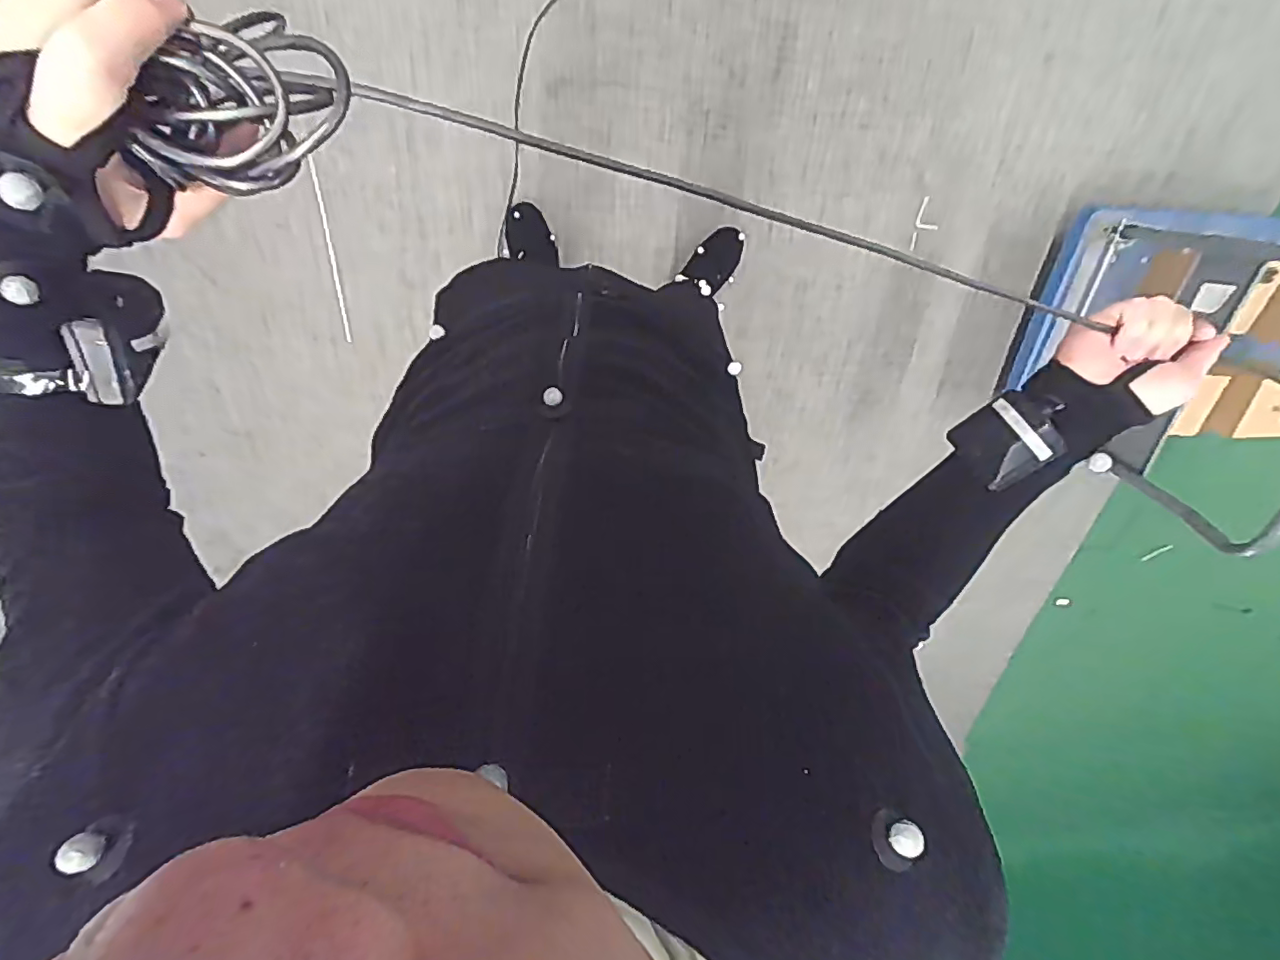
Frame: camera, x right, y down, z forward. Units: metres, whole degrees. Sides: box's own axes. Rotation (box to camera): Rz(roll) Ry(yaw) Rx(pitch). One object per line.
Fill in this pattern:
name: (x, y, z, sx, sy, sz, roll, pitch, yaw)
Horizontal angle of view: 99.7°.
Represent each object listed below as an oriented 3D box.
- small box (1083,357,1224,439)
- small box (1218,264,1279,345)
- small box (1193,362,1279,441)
small box: (1.350, -0.222, 1.437, 0.179, 0.176, 0.168, 3, 120, -4)
small box: (1.616, -0.433, 1.332, 0.179, 0.176, 0.168, -2, 121, -3)
small box: (1.619, -0.215, 1.457, 0.179, 0.176, 0.168, -1, 119, -2)
